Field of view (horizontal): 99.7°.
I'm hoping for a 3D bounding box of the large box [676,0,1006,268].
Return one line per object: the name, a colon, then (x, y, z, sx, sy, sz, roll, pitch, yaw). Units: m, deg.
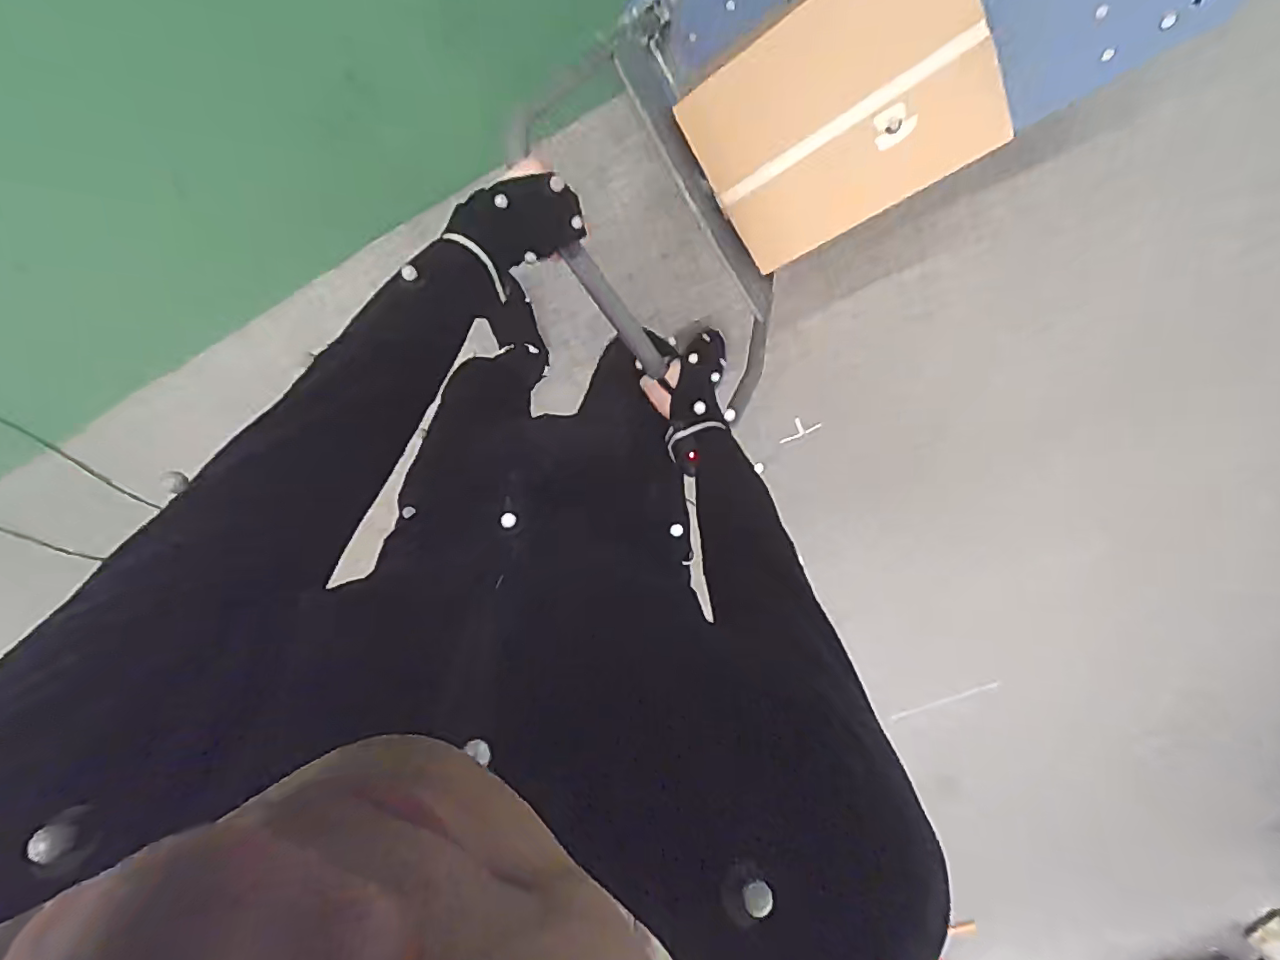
large box: (0.321, -0.650, 0.927, 0.408, 0.320, 0.320, -22, 126, 29)
